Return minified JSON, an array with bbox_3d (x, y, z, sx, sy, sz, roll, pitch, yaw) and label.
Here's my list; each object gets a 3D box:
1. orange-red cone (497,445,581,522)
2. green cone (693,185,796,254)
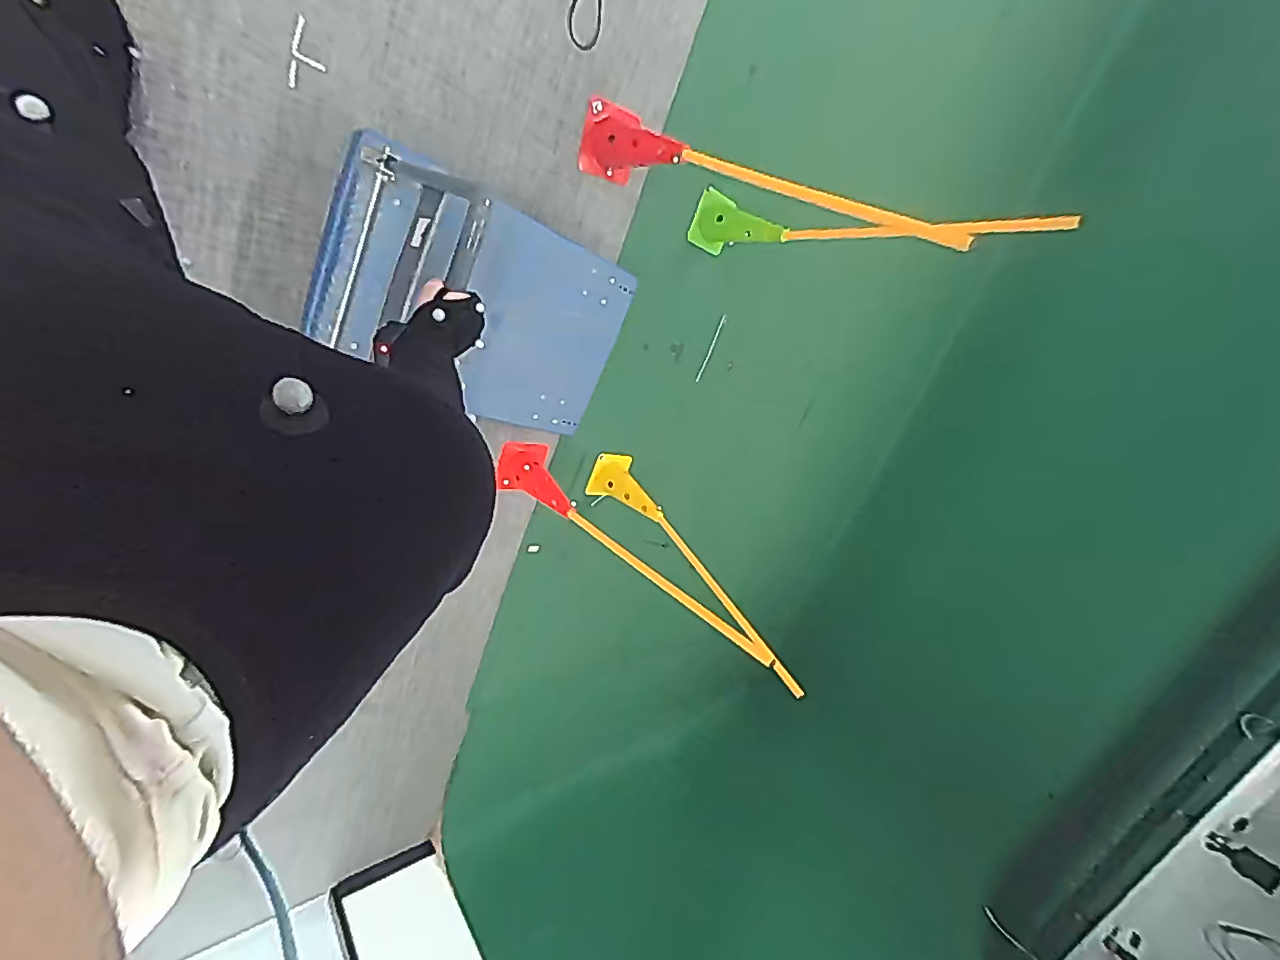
[{"bbox_3d":[-0.324,0.041,1.933,0.199,0.360,0.198,2,117,-47],"label":"orange-red cone"},{"bbox_3d":[0.400,-0.903,1.942,0.202,0.368,0.200,2,116,-46],"label":"green cone"}]
